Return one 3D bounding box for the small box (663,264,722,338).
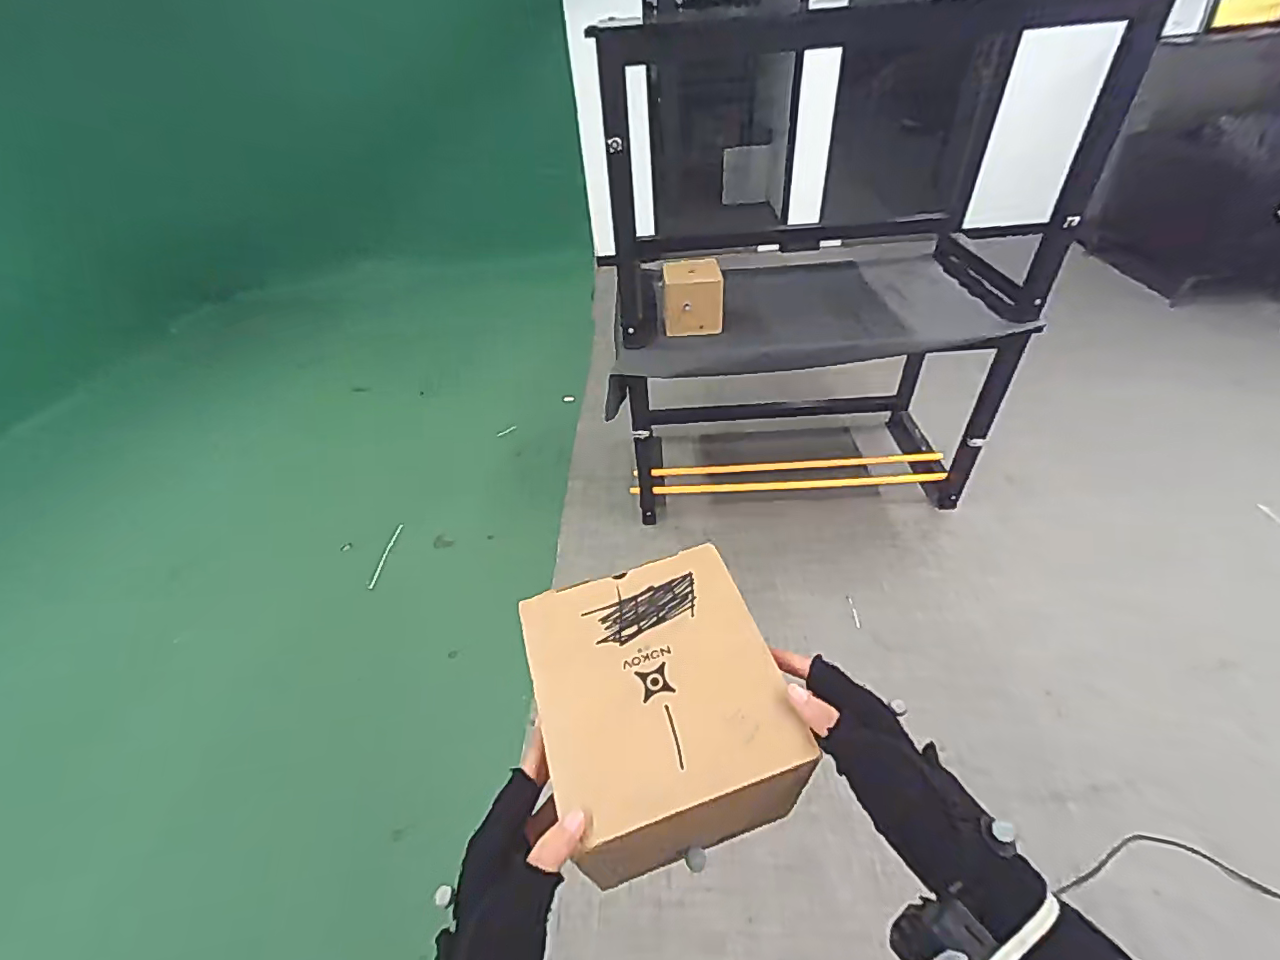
[{"bbox_3d":[0.160,-0.542,1.651,0.168,0.176,0.179,-4,40,2],"label":"small box"}]
